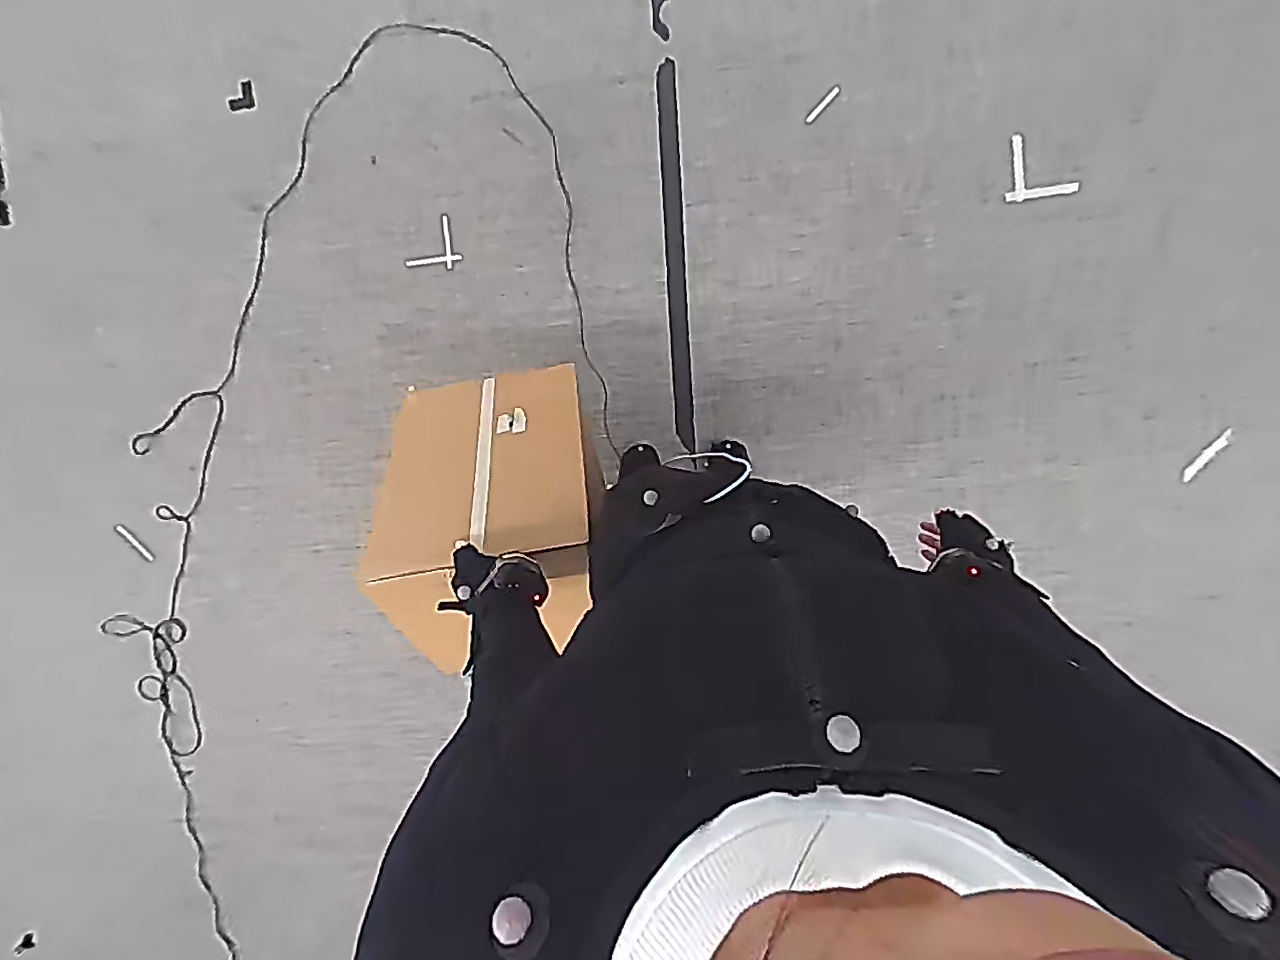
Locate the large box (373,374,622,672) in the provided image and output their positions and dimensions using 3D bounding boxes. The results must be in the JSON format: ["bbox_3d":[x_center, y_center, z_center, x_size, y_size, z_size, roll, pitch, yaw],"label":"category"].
[{"bbox_3d":[-0.225,0.073,0.978,0.320,0.408,0.320,-10,137,0],"label":"large box"}]
